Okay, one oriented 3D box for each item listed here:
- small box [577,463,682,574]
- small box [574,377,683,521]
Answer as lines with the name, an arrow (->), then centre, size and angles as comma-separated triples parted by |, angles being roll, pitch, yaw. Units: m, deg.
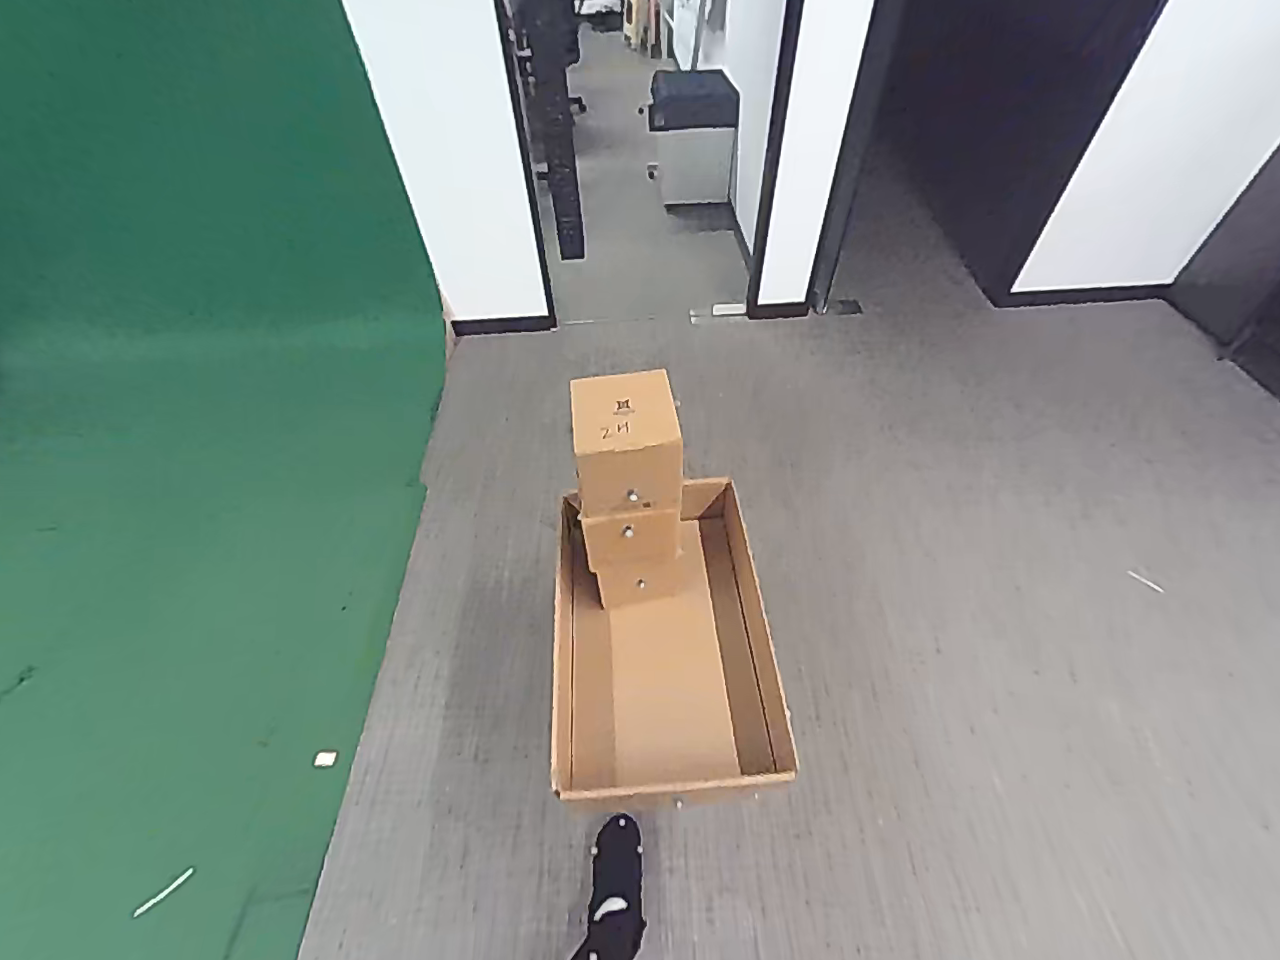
small box -> -0.021, 0.063, 1.047 | 0.179, 0.176, 0.168 | -8, 50, -3
small box -> -0.021, -0.052, 0.929 | 0.168, 0.176, 0.179 | -7, 50, -2
